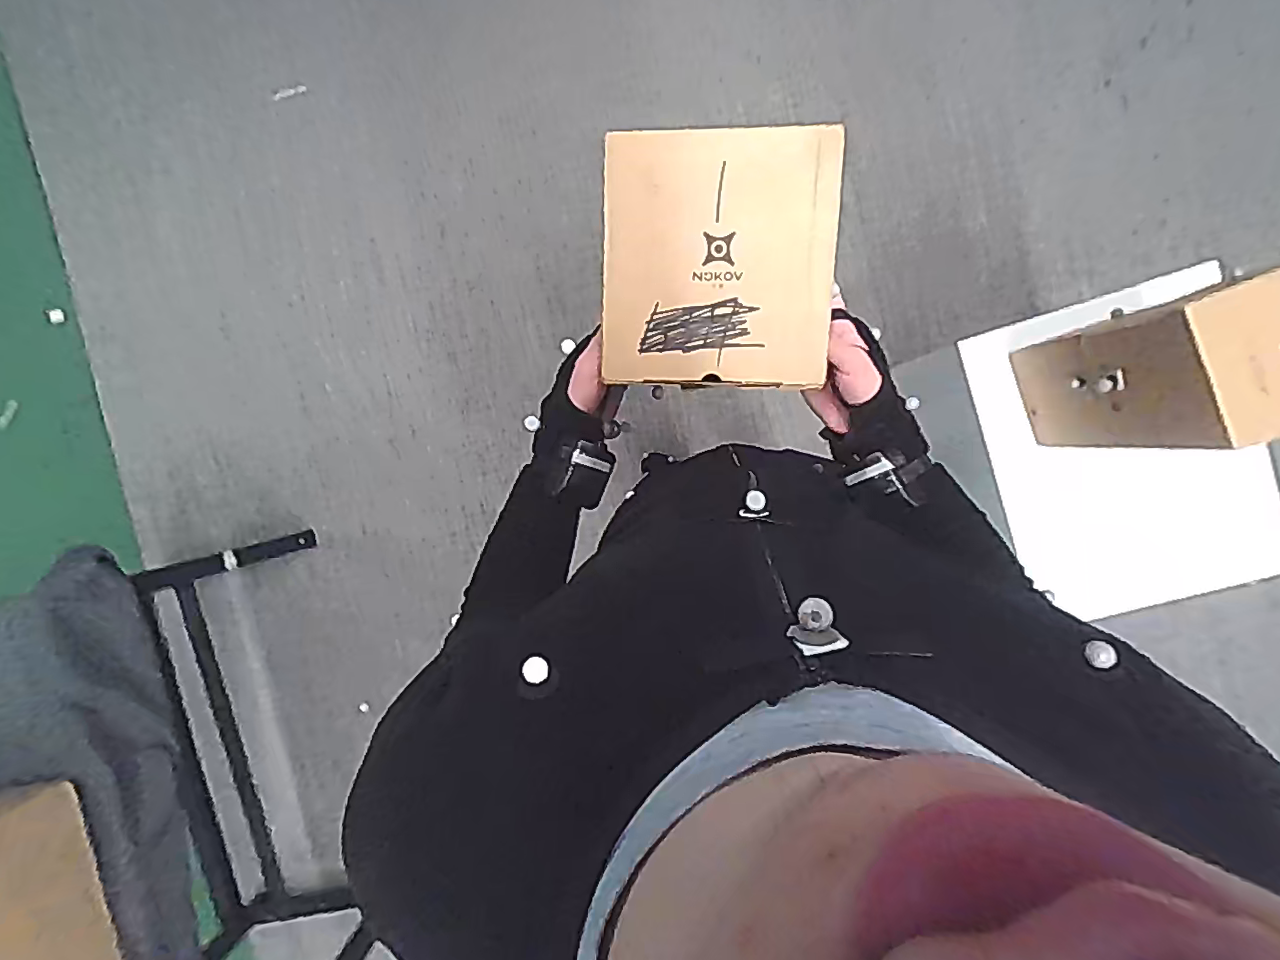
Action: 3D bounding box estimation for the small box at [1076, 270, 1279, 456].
[{"bbox_3d":[0.675,-0.136,0.633,0.179,0.176,0.168,-20,92,8],"label":"small box"}]

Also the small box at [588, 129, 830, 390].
[{"bbox_3d":[0.054,-0.171,0.466,0.168,0.176,0.179,3,100,6],"label":"small box"}]

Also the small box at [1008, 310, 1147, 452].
[{"bbox_3d":[0.694,-0.148,0.795,0.179,0.176,0.168,-18,93,7],"label":"small box"}]
